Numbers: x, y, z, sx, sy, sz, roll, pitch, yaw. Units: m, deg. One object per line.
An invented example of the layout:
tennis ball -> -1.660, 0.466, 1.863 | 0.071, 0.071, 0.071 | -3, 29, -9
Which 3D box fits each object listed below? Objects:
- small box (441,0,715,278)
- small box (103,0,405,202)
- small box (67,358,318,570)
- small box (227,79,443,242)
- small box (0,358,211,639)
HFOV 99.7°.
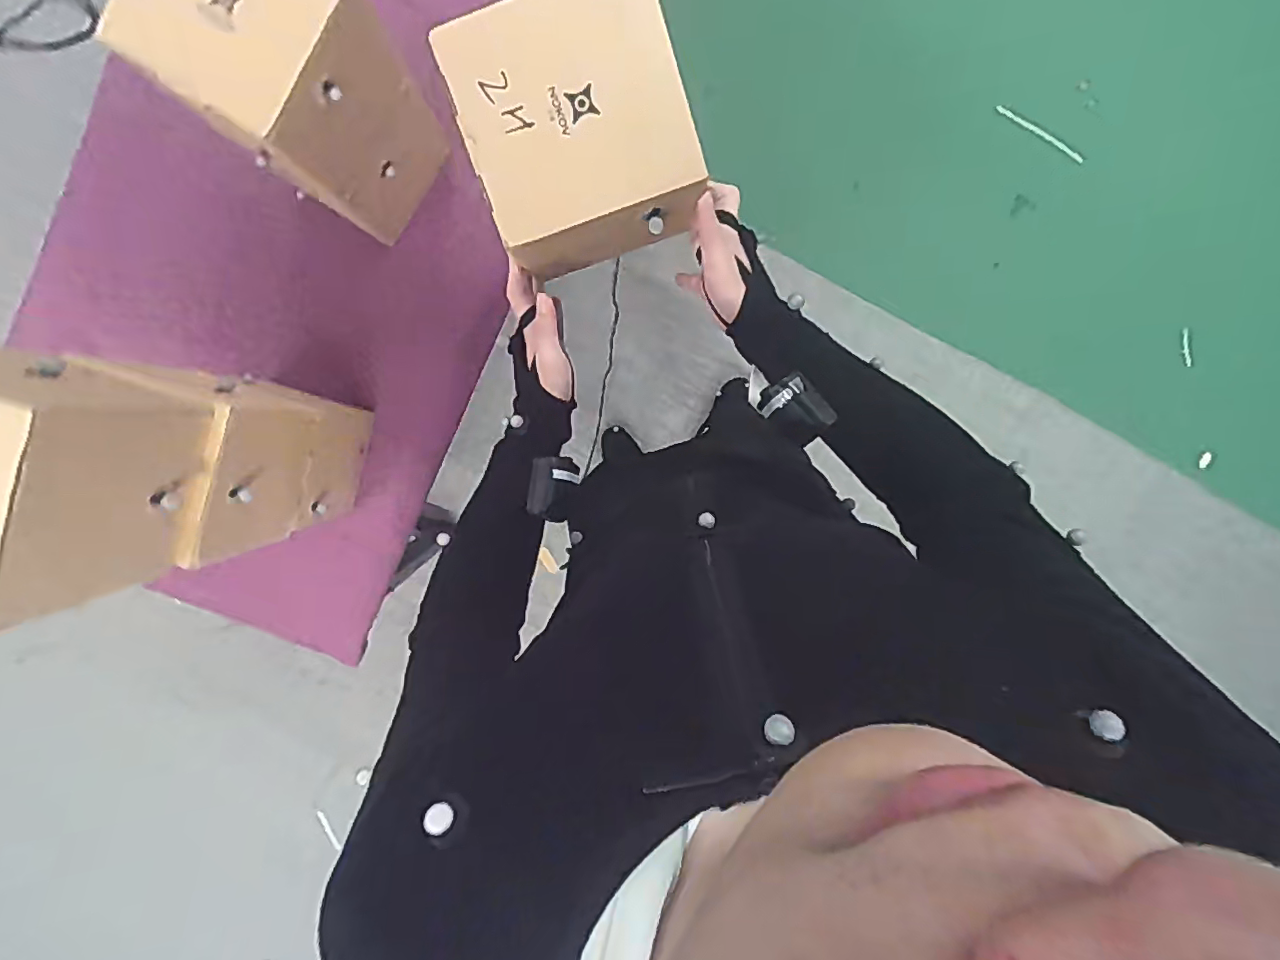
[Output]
small box -> -0.047, -0.303, 0.497 | 0.179, 0.176, 0.168 | -18, 101, 3
small box -> -0.381, -0.437, 0.572 | 0.168, 0.176, 0.179 | 31, 94, -8
small box -> -0.503, -0.023, 0.615 | 0.168, 0.176, 0.179 | 18, 96, -5
small box -> -0.394, -0.460, 0.733 | 0.168, 0.176, 0.179 | 32, 93, -7
small box -> -0.512, 0.000, 0.452 | 0.168, 0.176, 0.179 | 19, 95, -4
